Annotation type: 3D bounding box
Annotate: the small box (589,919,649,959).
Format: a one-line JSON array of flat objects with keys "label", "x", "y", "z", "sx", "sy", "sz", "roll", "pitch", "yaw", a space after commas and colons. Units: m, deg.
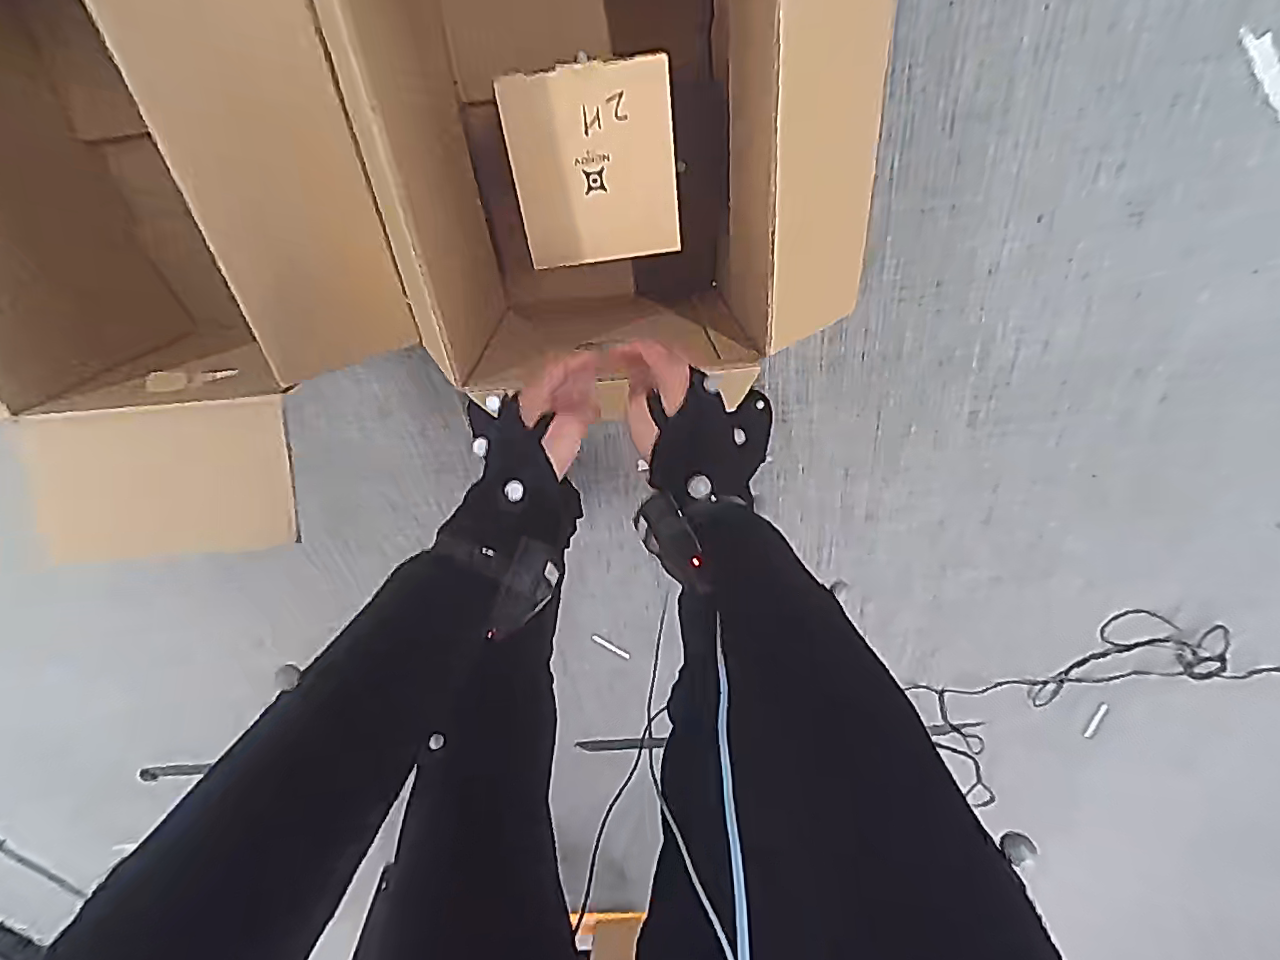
[{"label": "small box", "x": -0.067, "y": 1.545, "z": 1.742, "sx": 0.179, "sy": 0.176, "sz": 0.168, "roll": -6, "pitch": 123, "yaw": 8}]
